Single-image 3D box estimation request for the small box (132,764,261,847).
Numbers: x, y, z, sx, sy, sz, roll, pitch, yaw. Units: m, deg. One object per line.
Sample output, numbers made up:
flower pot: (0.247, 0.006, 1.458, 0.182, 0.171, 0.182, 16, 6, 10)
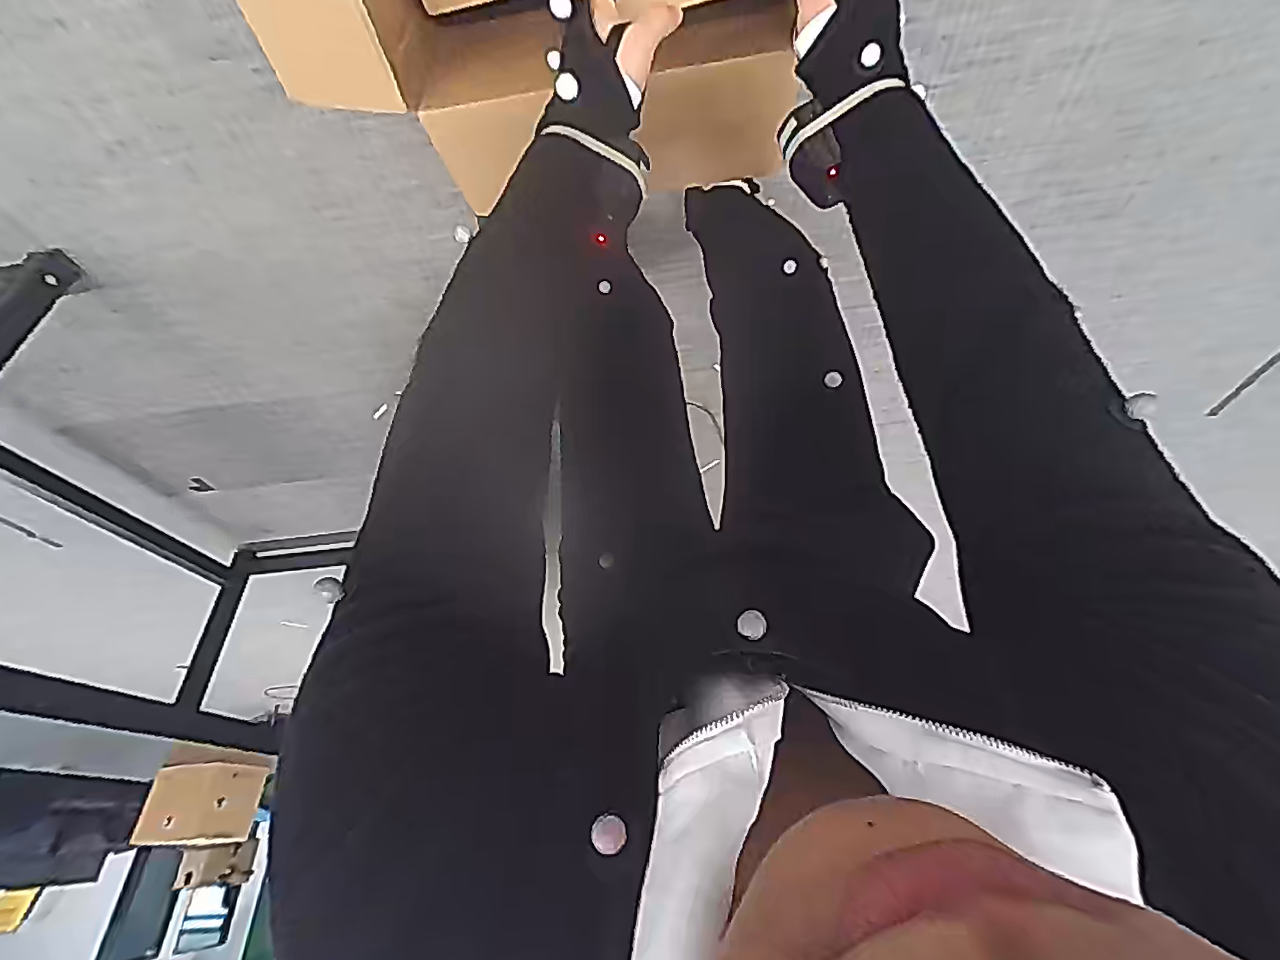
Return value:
small box: (-1.106, 0.823, 1.371, 0.179, 0.176, 0.168, -8, 145, 9)
